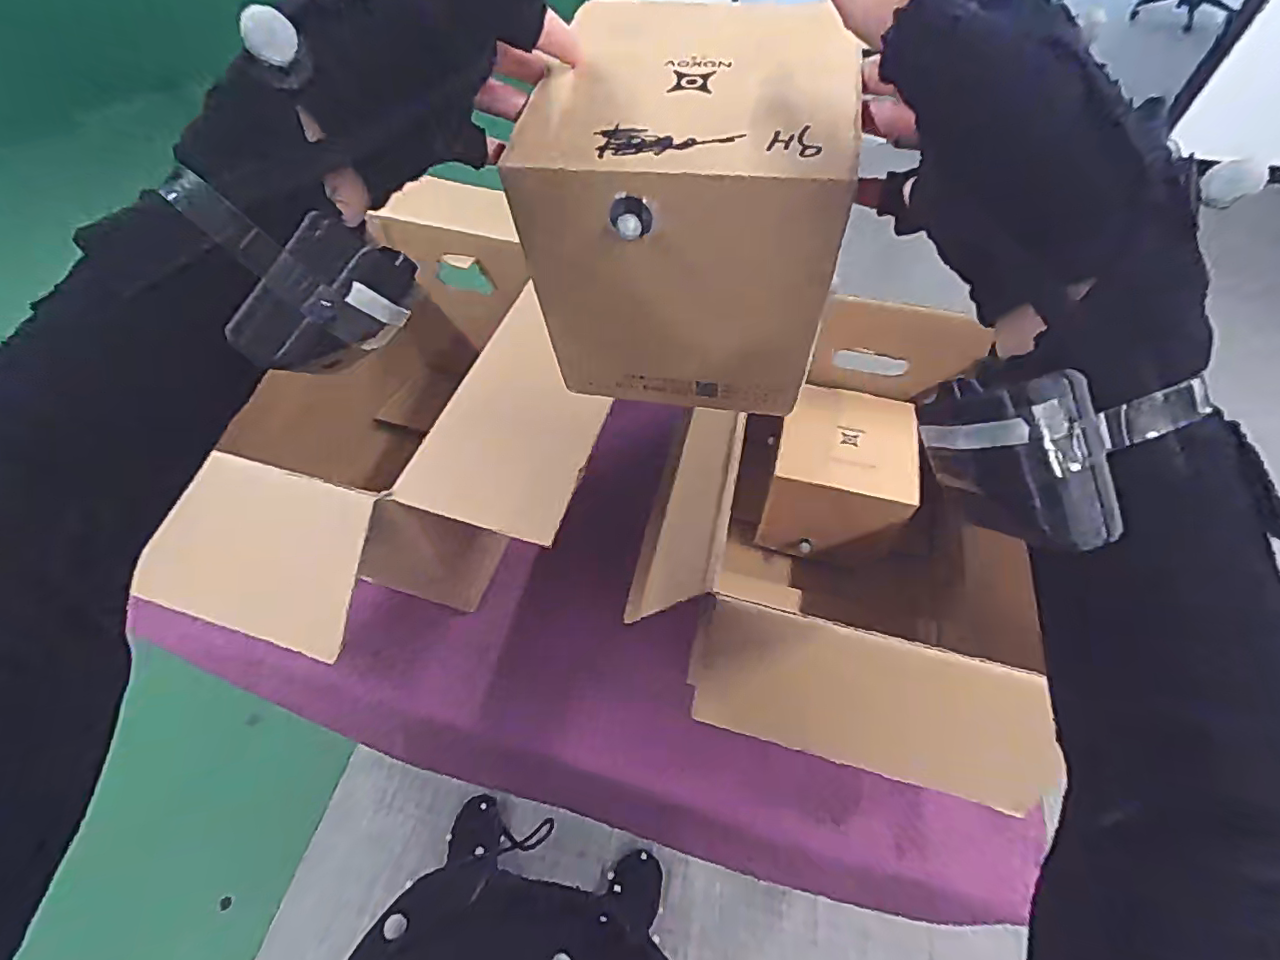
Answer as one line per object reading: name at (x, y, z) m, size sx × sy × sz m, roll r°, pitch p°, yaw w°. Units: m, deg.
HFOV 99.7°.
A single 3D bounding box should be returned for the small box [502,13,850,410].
small box at (0.034, -0.173, 0.361) m, size 0.168 × 0.176 × 0.179 m, roll 8°, pitch 60°, yaw 11°
